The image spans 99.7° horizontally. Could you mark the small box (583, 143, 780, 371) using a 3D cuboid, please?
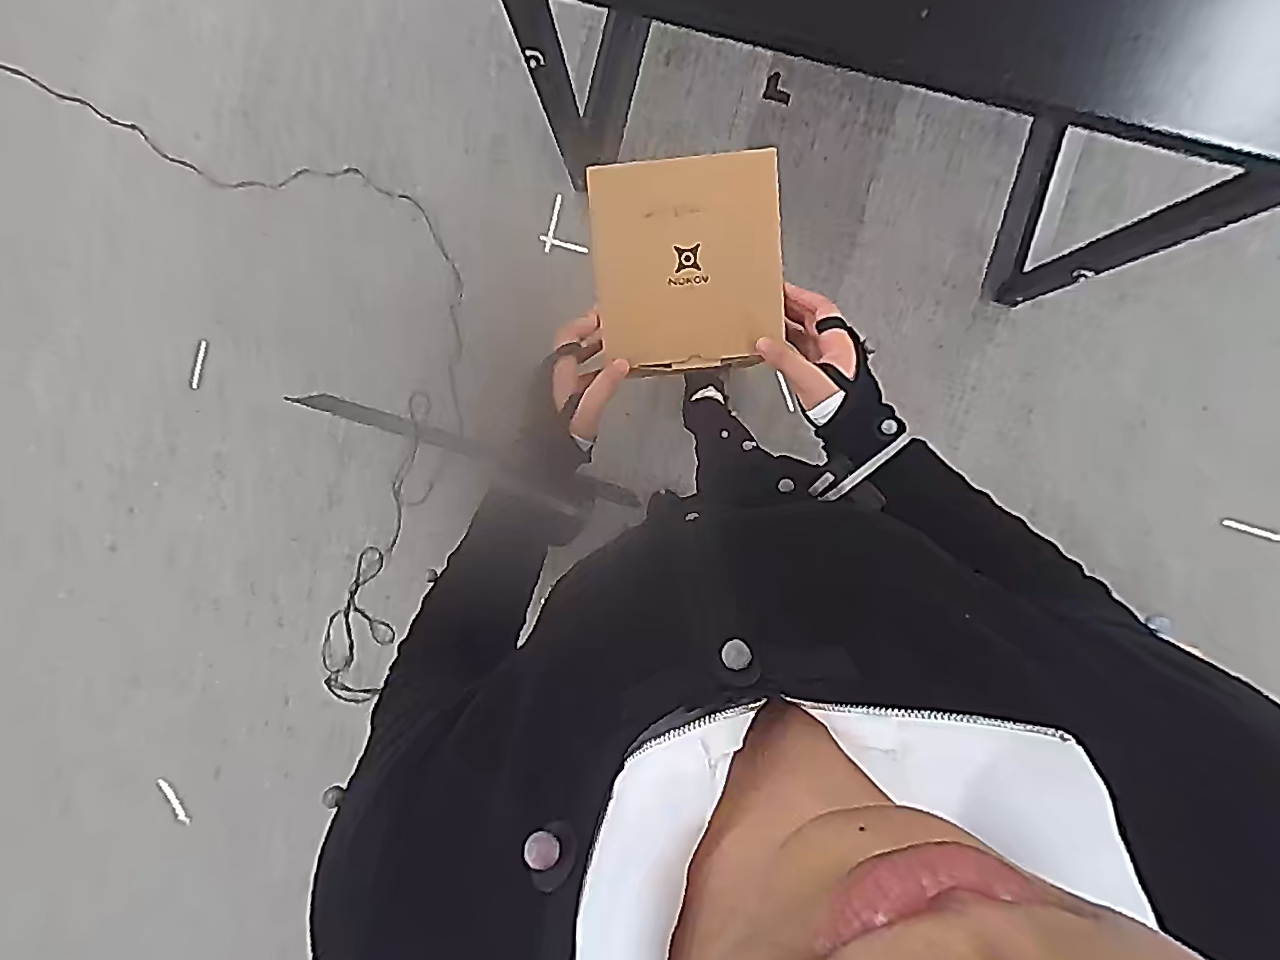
[{"bbox_3d":[0.039,-0.207,0.554,0.168,0.176,0.179,-6,97,1],"label":"small box"}]
